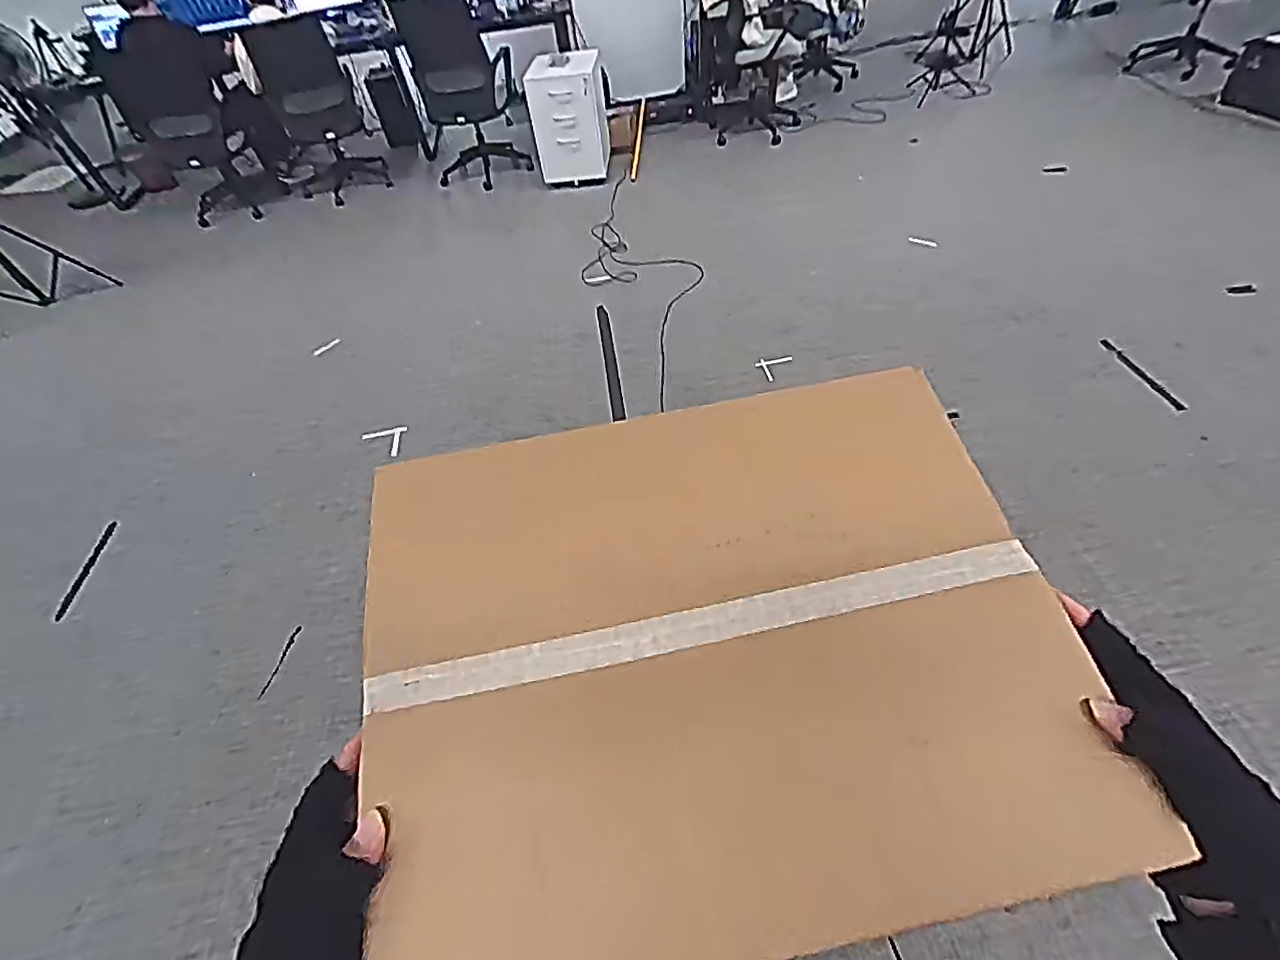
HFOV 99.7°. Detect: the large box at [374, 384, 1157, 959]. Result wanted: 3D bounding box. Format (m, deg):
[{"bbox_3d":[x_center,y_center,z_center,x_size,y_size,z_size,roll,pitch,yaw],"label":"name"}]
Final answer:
[{"bbox_3d":[0.049,0.167,0.461,0.408,0.320,0.320,-12,61,-3],"label":"large box"}]
